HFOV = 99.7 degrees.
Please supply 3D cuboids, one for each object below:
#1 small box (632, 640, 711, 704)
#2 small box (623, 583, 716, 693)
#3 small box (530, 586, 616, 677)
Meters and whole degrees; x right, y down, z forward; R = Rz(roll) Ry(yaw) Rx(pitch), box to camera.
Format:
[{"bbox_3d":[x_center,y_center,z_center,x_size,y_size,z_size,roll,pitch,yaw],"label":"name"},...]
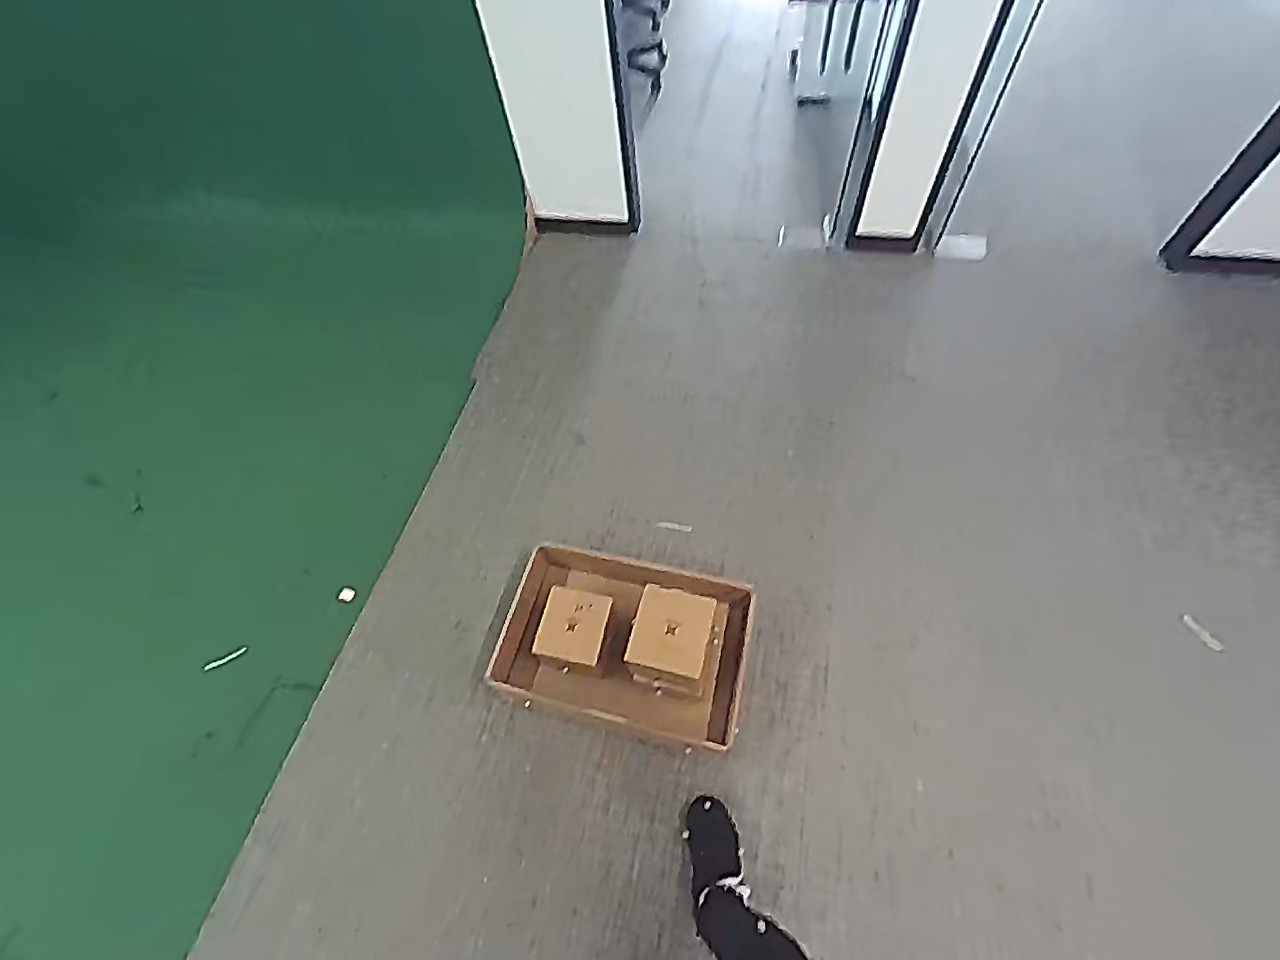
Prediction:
[{"bbox_3d":[0.086,0.451,1.365,0.168,0.176,0.179,10,60,11],"label":"small box"},{"bbox_3d":[0.071,0.362,1.229,0.168,0.176,0.179,11,61,13],"label":"small box"},{"bbox_3d":[-0.166,0.401,1.416,0.168,0.176,0.179,10,60,9],"label":"small box"}]
